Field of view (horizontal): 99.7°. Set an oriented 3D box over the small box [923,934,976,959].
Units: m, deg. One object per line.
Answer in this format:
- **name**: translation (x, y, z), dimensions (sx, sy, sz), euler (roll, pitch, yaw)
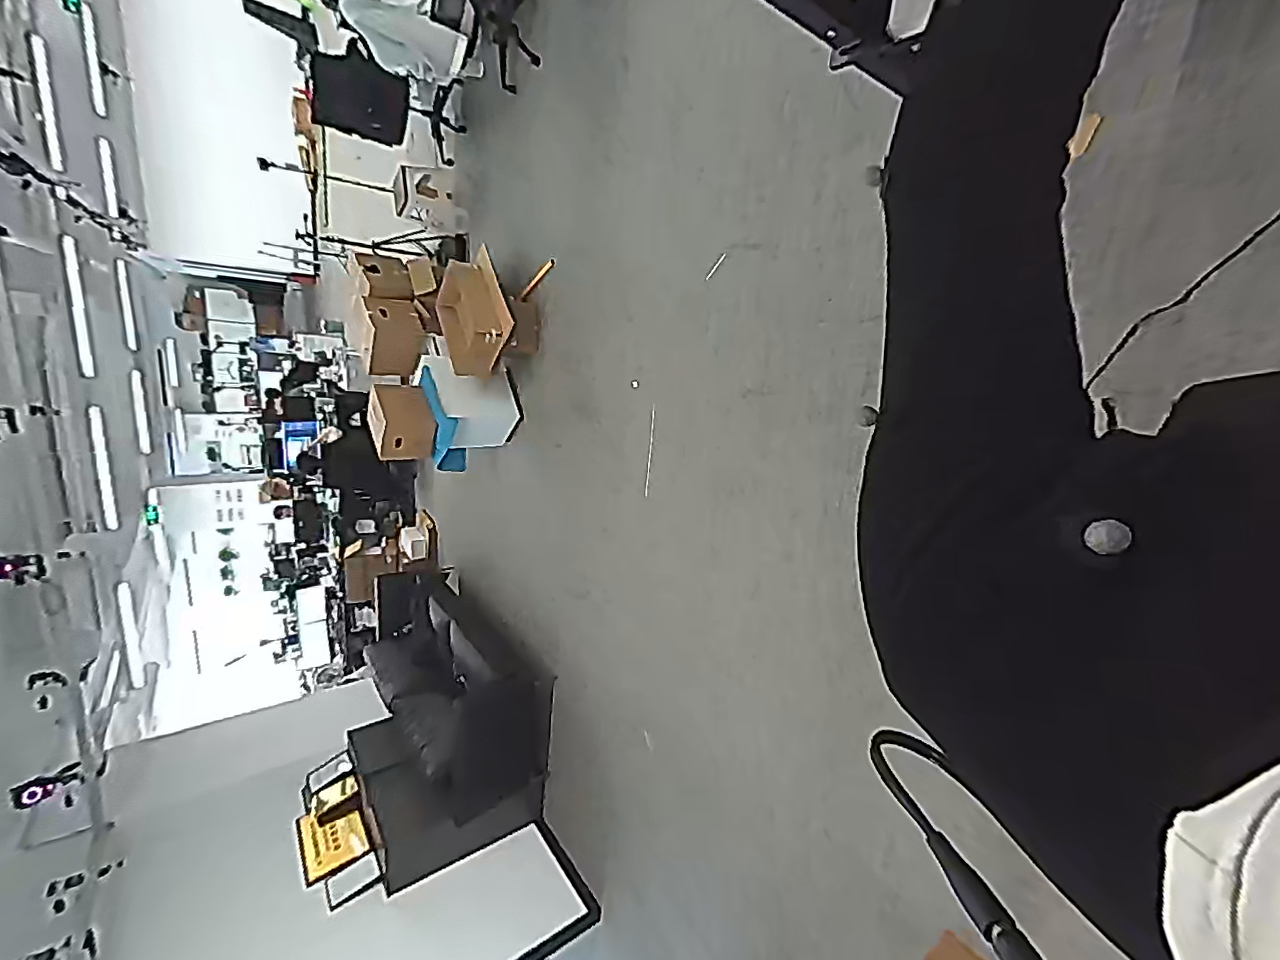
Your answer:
- **small box**: translation (0.933, 1.514, 1.598), dimensions (0.179, 0.176, 0.168), euler (23, 112, 50)
